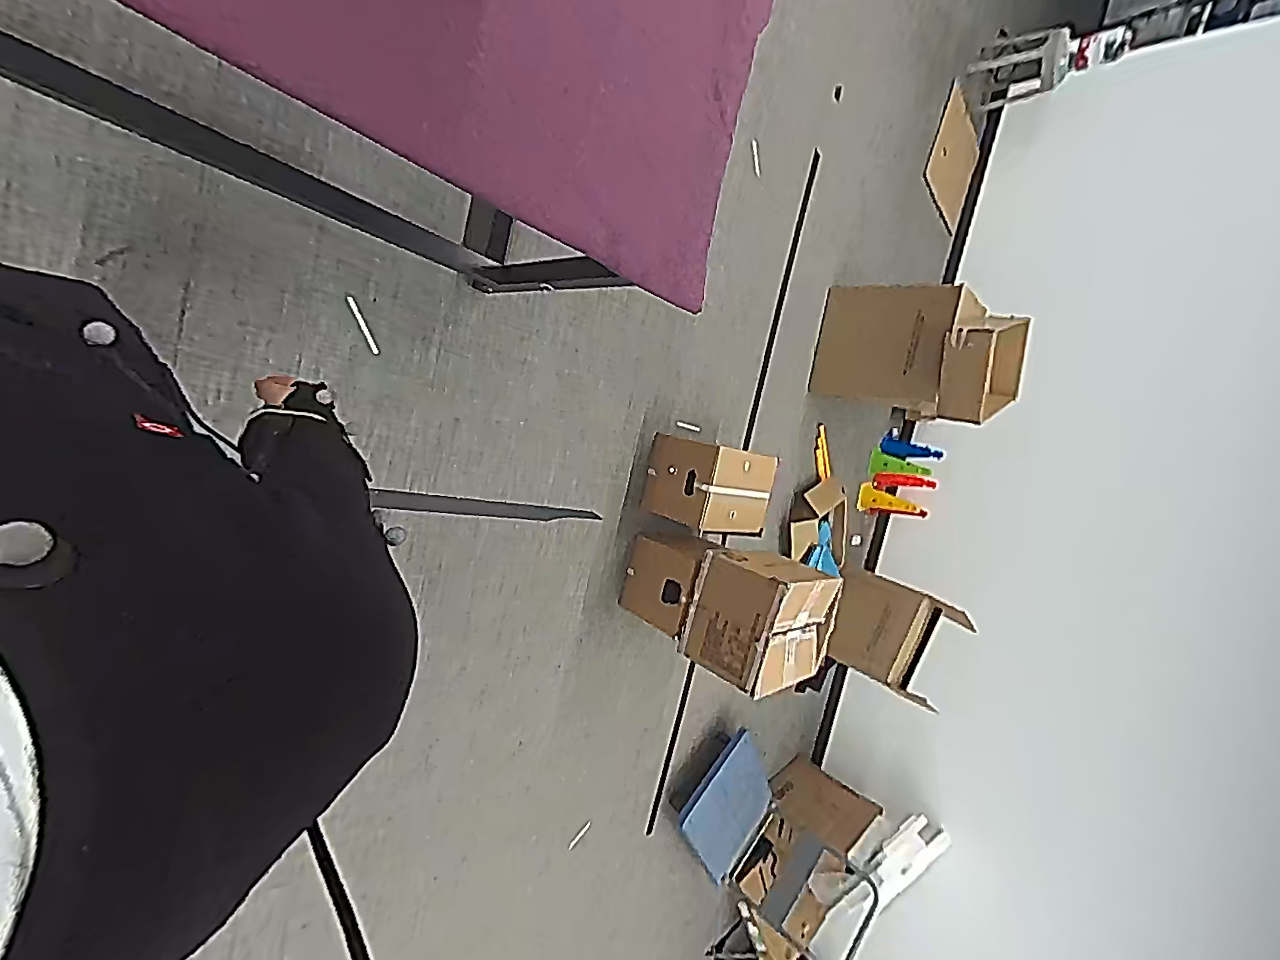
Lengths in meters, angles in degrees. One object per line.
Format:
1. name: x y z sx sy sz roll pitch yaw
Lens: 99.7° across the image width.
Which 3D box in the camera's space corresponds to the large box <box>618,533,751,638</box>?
1. large box: 0.181 0.403 2.179 0.408 0.320 0.320 7 98 -46
